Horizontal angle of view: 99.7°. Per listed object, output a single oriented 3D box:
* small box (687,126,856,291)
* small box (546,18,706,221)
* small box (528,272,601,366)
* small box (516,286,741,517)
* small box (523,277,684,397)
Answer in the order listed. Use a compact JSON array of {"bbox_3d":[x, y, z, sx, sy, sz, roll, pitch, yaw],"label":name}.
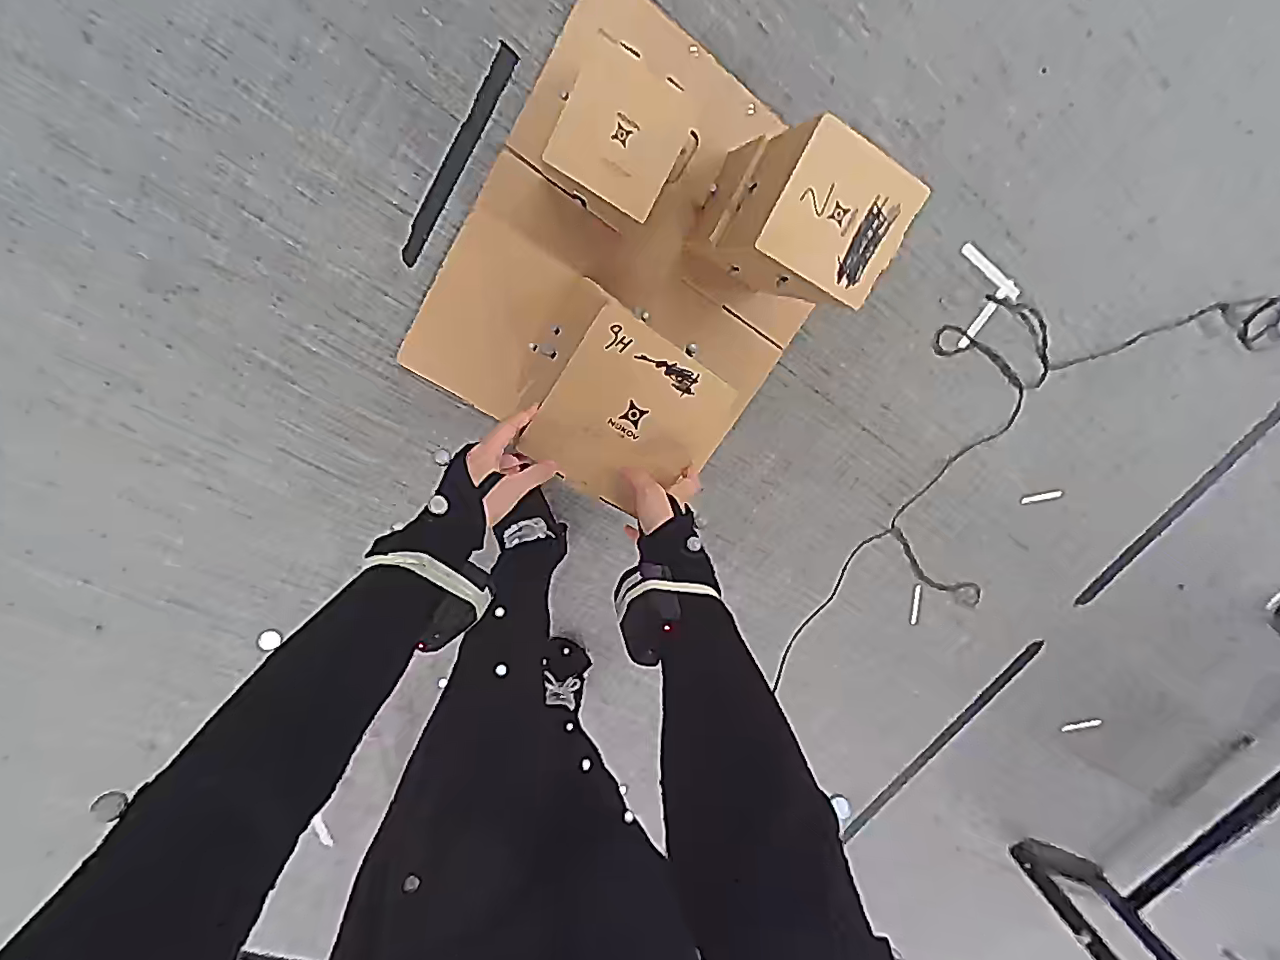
[{"bbox_3d":[0.203,-0.431,0.881,0.179,0.176,0.168,25,106,-18],"label":"small box"},{"bbox_3d":[-0.031,-0.513,0.803,0.168,0.176,0.179,24,106,-17],"label":"small box"},{"bbox_3d":[-0.075,-0.231,0.913,0.168,0.176,0.179,32,105,-21],"label":"small box"},{"bbox_3d":[-0.021,-0.096,0.611,0.168,0.176,0.179,31,105,-21],"label":"small box"},{"bbox_3d":[-0.050,-0.167,0.763,0.168,0.176,0.179,33,104,-21],"label":"small box"}]
